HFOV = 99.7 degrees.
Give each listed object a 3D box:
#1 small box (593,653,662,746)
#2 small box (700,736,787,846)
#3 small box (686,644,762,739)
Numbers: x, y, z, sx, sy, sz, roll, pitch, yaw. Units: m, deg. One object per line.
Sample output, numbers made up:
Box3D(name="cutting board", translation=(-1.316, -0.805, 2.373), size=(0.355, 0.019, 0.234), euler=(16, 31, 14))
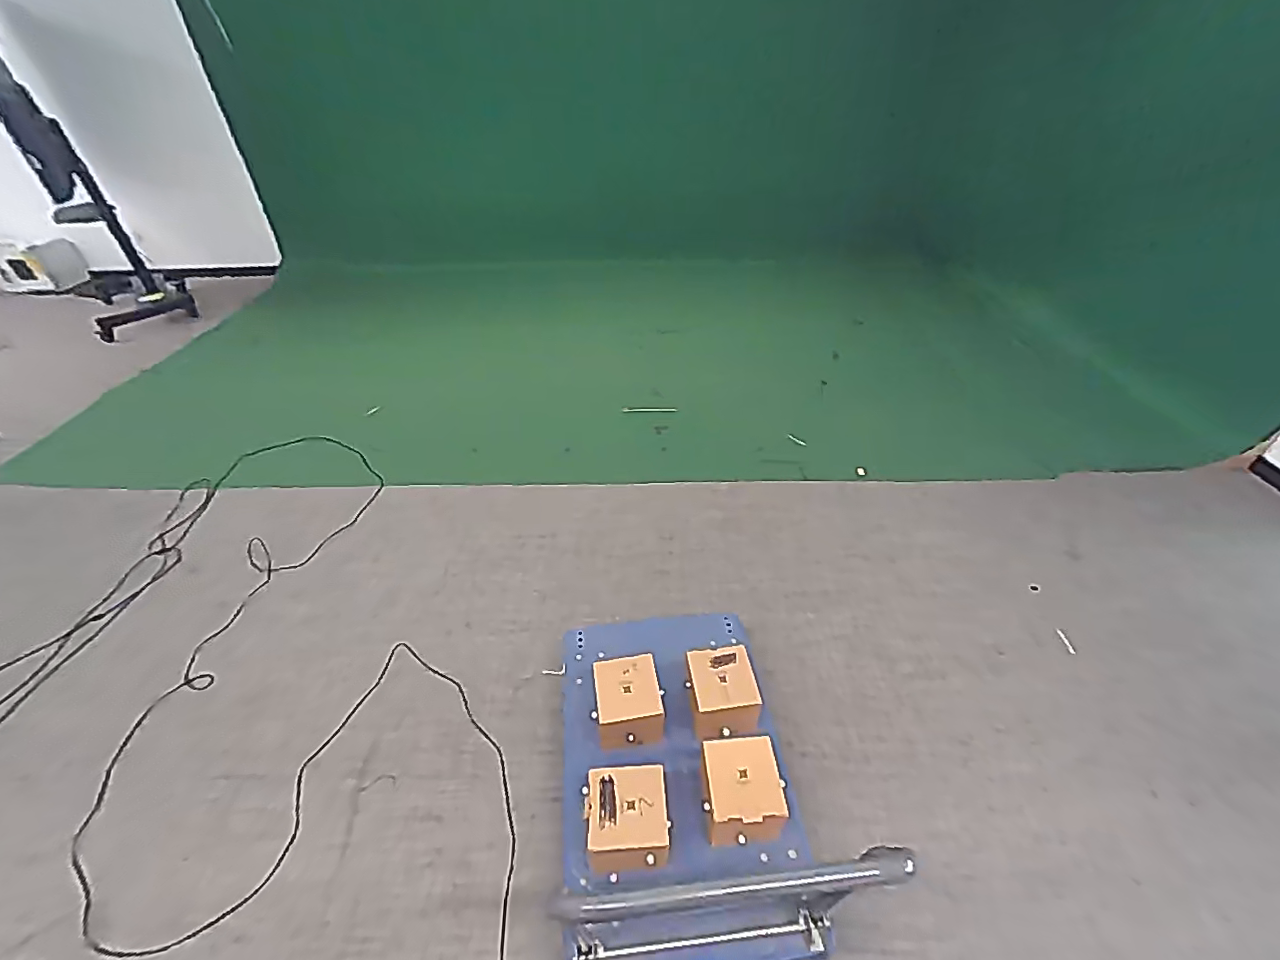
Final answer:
Box3D(name="small box", translation=(-0.034, 0.598, 1.462), size=(0.168, 0.176, 0.179), euler=(-6, 40, -7))
Box3D(name="small box", translation=(0.238, 0.741, 1.291), size=(0.168, 0.176, 0.179), euler=(-3, 39, -2))
Box3D(name="small box", translation=(0.221, 0.579, 1.479), size=(0.168, 0.176, 0.179), euler=(-6, 41, -4))
